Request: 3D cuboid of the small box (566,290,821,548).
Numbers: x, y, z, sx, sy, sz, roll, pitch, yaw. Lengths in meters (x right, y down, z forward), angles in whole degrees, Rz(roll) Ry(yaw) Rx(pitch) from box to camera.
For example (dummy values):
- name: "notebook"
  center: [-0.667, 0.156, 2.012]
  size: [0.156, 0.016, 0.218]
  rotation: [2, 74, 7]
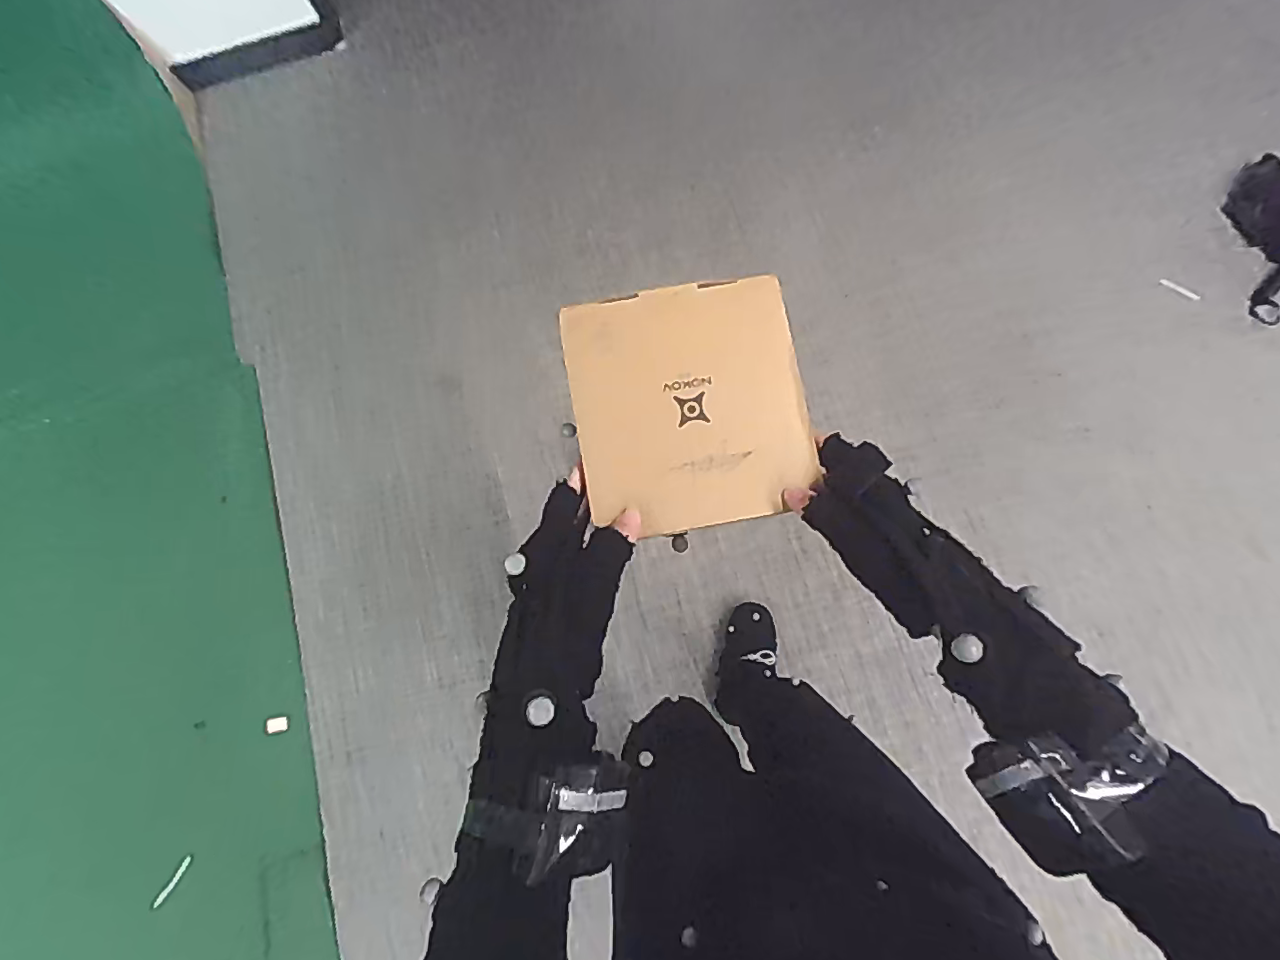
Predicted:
- name: "small box"
  center: [0.034, -0.038, 0.479]
  size: [0.168, 0.176, 0.179]
  rotation: [-11, 84, -3]
